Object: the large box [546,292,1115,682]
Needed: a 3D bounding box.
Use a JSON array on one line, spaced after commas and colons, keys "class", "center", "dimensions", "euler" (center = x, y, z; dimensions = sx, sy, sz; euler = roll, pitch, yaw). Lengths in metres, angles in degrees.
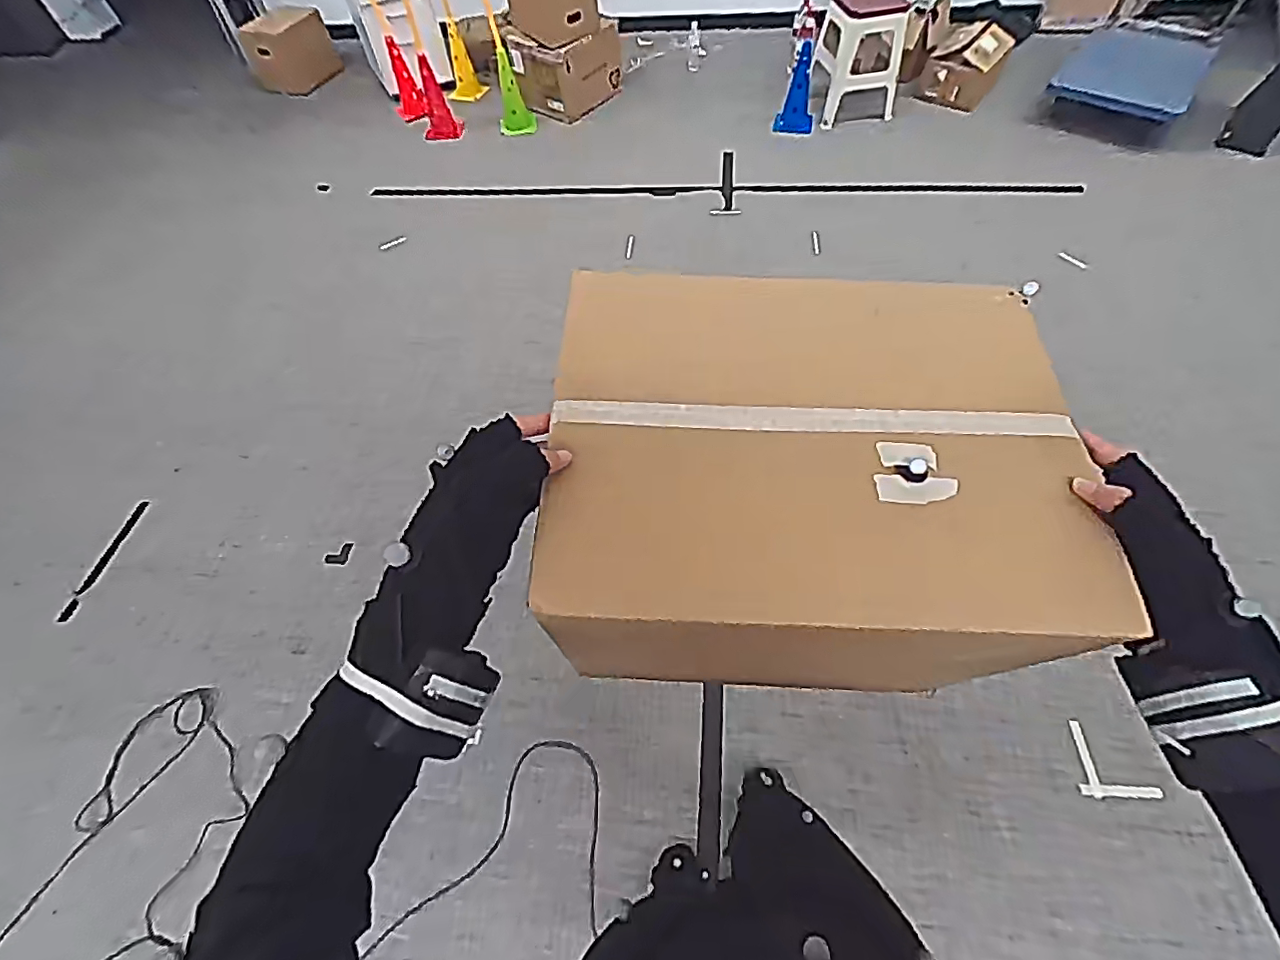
[{"class": "large box", "center": [0.131, 0.029, 0.572], "dimensions": [0.408, 0.320, 0.320], "euler": [2, 63, 0]}]
